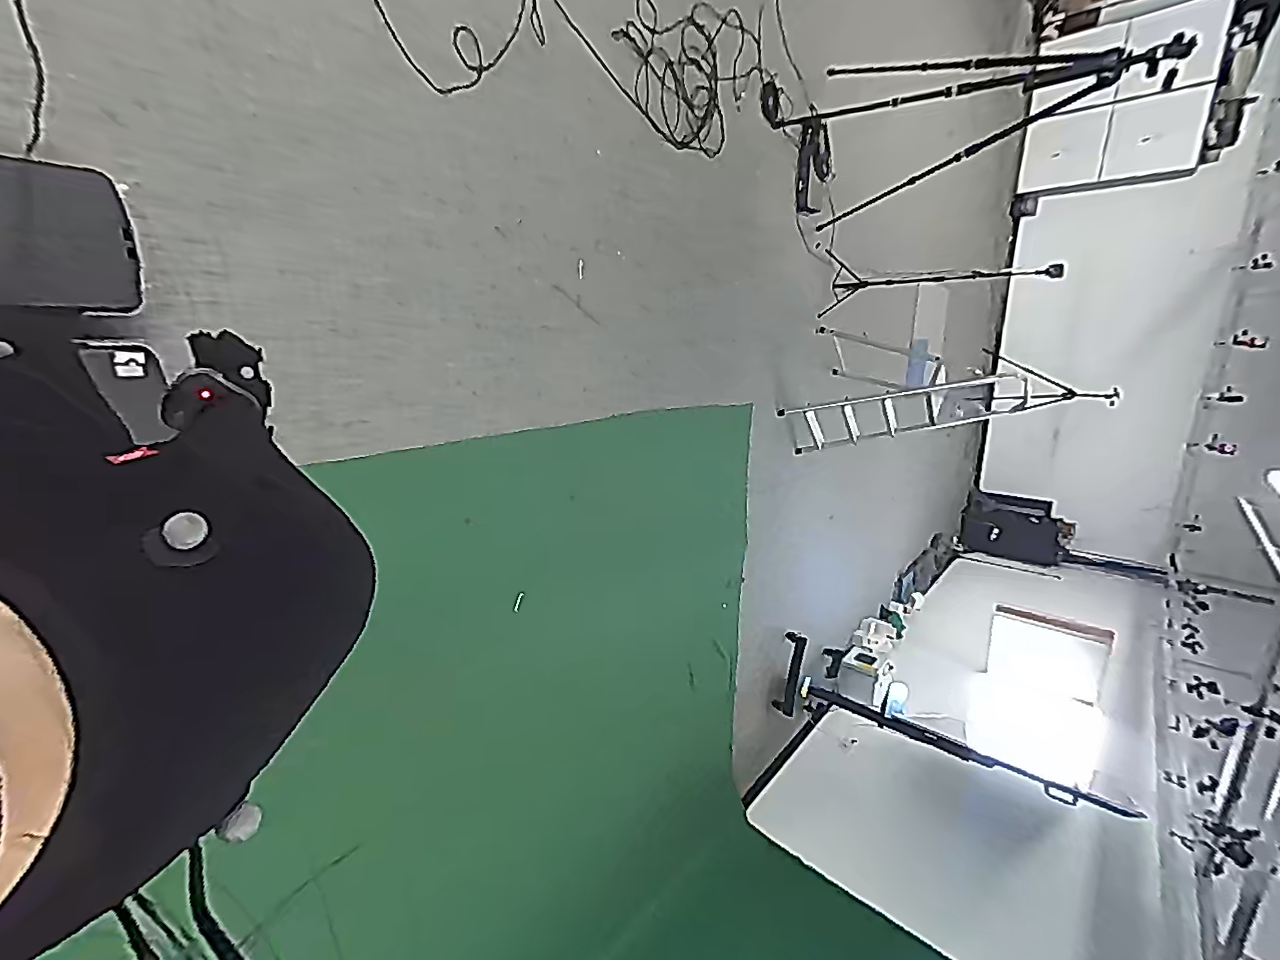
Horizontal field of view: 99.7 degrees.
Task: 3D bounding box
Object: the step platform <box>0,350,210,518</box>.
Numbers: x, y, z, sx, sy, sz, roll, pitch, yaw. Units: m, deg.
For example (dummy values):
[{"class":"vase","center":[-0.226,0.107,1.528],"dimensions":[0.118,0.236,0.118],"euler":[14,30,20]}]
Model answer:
[{"class":"step platform","center":[-1.127,-0.051,0.846],"dimensions":[0.684,0.204,0.286],"euler":[-17,112,-47]}]
